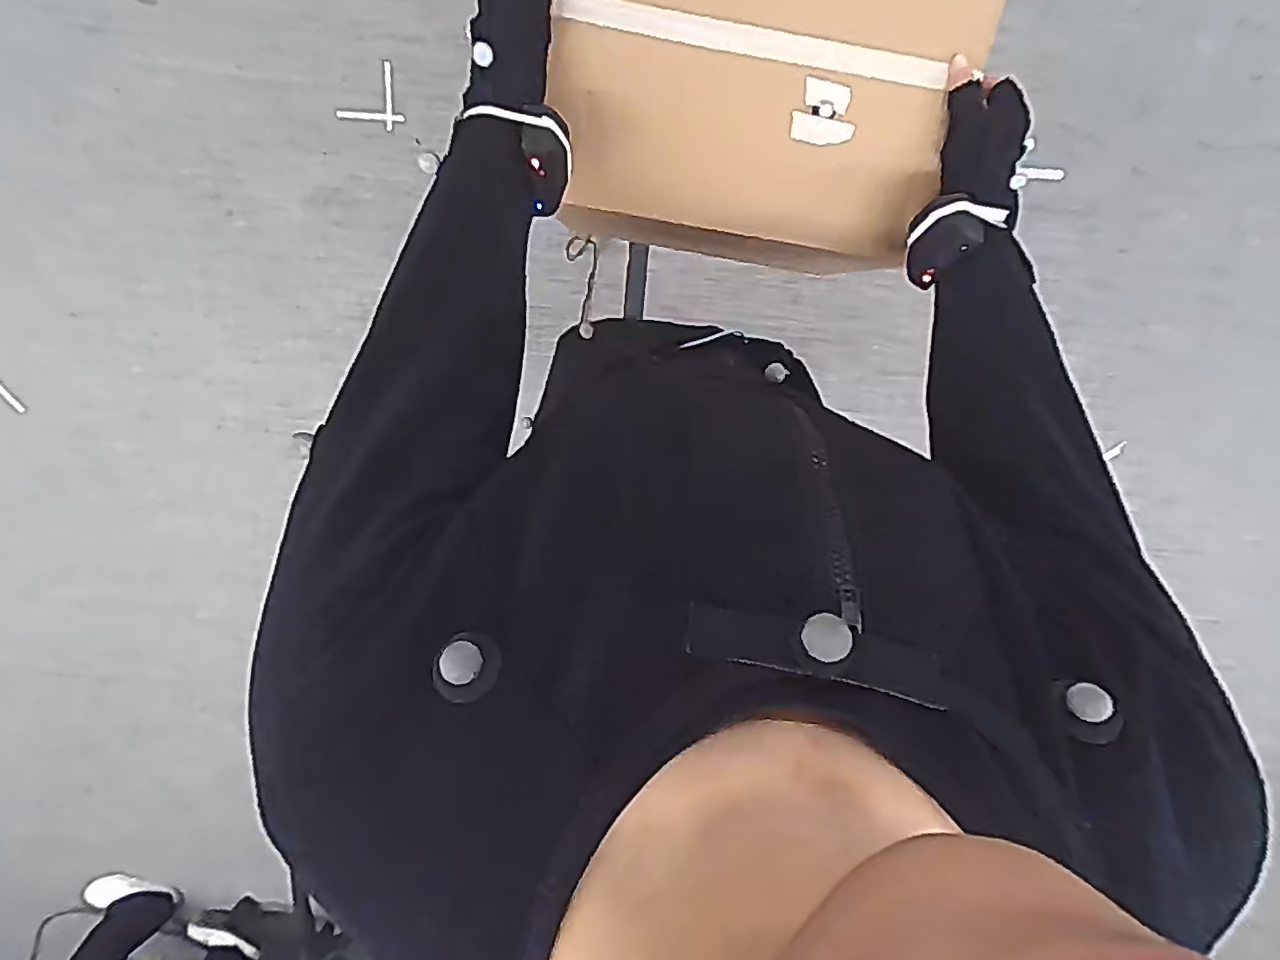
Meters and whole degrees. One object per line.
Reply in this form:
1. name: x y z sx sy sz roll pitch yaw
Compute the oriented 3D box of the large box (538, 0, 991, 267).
1. large box: 0.110 -0.450 0.644 0.408 0.320 0.320 8 110 -4
